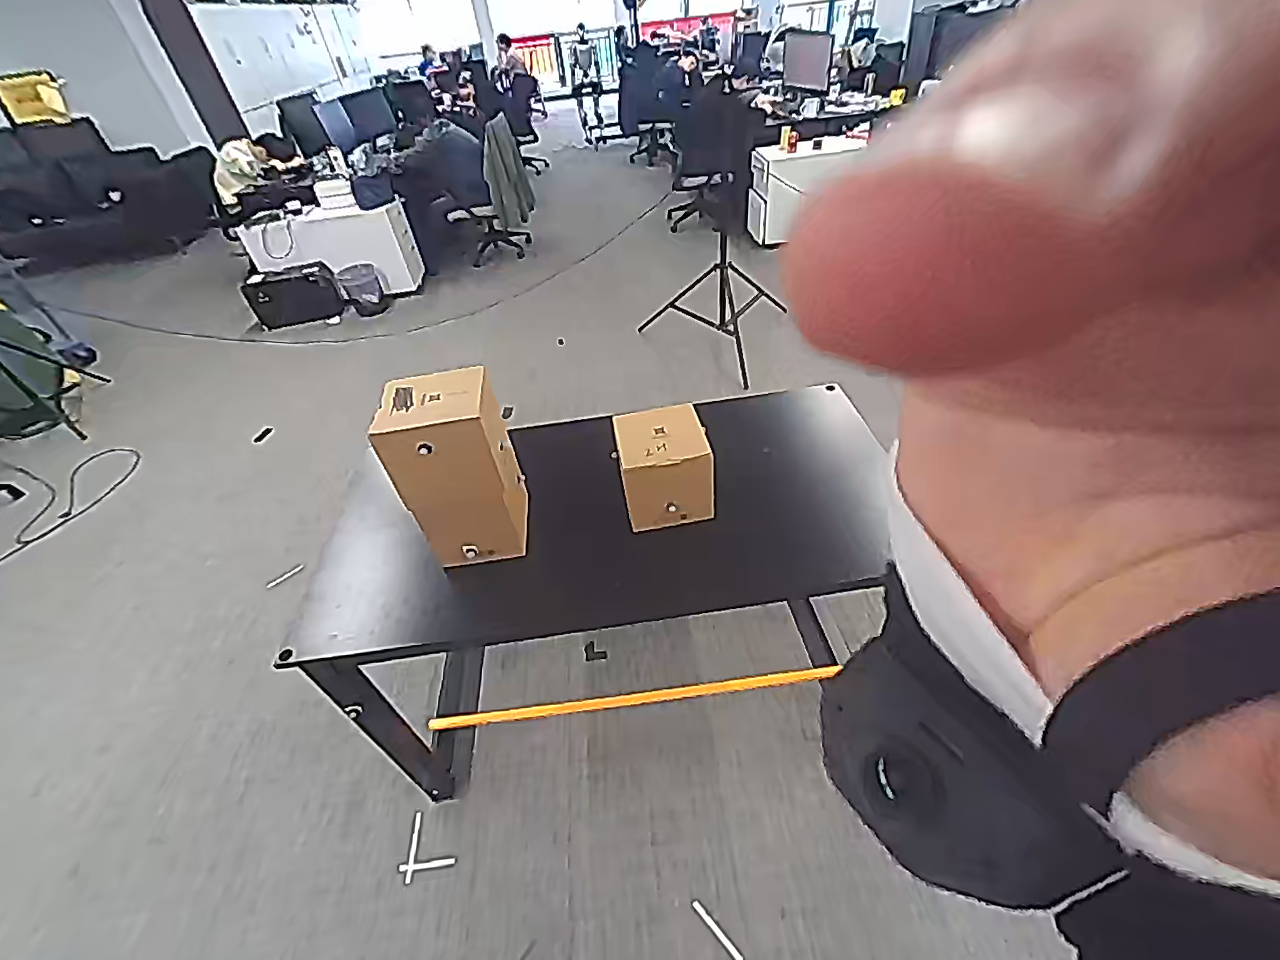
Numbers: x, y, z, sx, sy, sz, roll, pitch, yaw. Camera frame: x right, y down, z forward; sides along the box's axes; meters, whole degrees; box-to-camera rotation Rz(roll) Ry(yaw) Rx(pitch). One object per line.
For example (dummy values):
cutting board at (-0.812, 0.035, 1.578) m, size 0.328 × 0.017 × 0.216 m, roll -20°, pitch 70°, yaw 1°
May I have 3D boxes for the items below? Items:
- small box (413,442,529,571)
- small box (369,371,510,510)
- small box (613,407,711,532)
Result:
small box at (-0.321, 0.051, 1.066) m, size 0.168 × 0.176 × 0.179 m, roll -10°, pitch 42°, yaw -1°
small box at (-0.340, -0.067, 0.953) m, size 0.179 × 0.176 × 0.168 m, roll -10°, pitch 41°, yaw -3°
small box at (0.044, -0.022, 1.090) m, size 0.168 × 0.176 × 0.179 m, roll -10°, pitch 41°, yaw -2°
